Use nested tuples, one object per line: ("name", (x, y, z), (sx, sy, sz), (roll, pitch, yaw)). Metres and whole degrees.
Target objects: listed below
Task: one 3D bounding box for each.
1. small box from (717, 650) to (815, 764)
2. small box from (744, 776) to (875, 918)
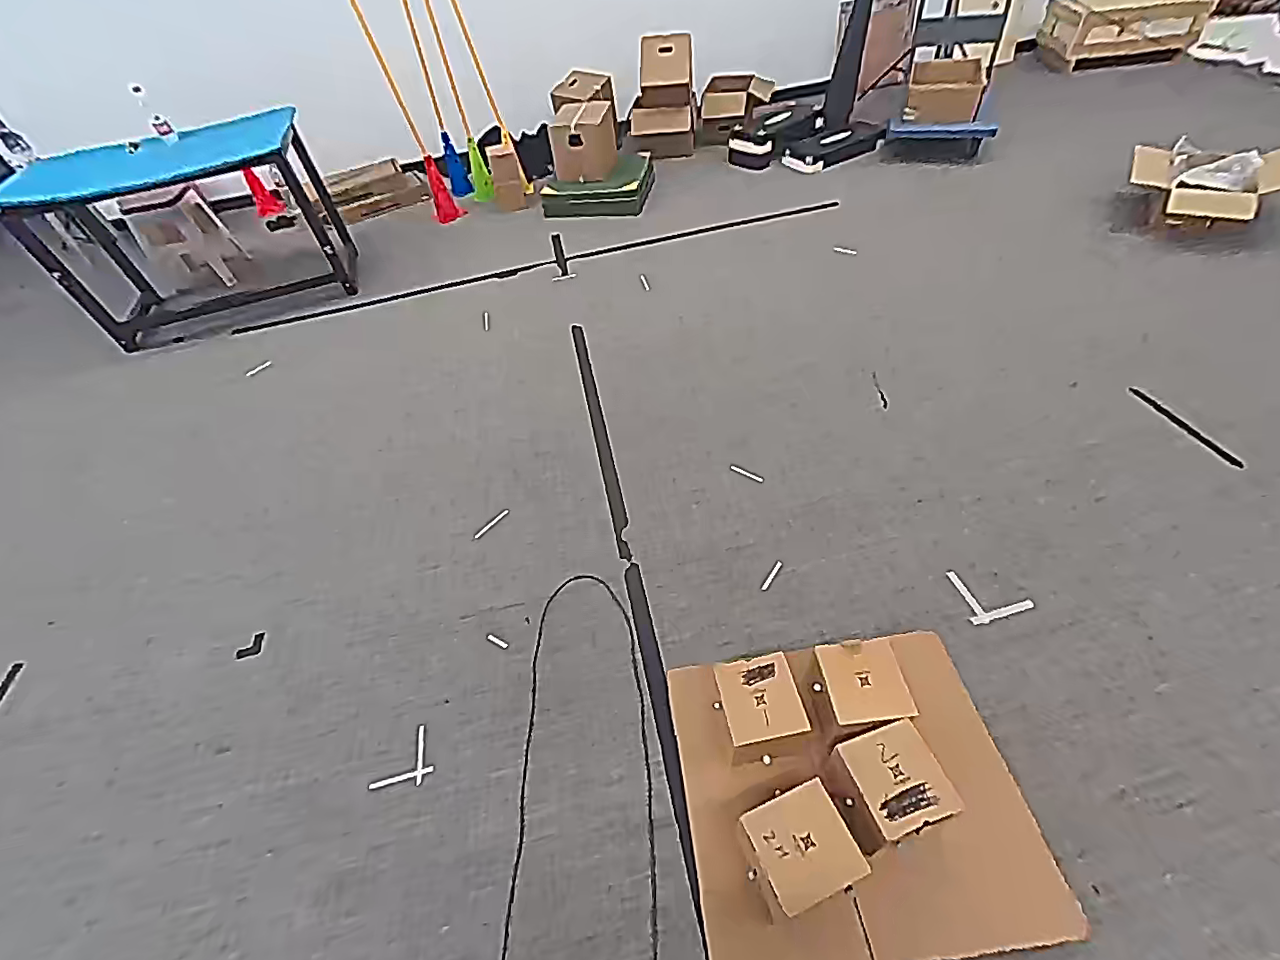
("small box", (0.274, 0.514, 1.223), (0.168, 0.176, 0.179), (-11, 49, -2))
("small box", (0.314, 0.707, 1.043), (0.179, 0.176, 0.168), (-20, 48, -10))
